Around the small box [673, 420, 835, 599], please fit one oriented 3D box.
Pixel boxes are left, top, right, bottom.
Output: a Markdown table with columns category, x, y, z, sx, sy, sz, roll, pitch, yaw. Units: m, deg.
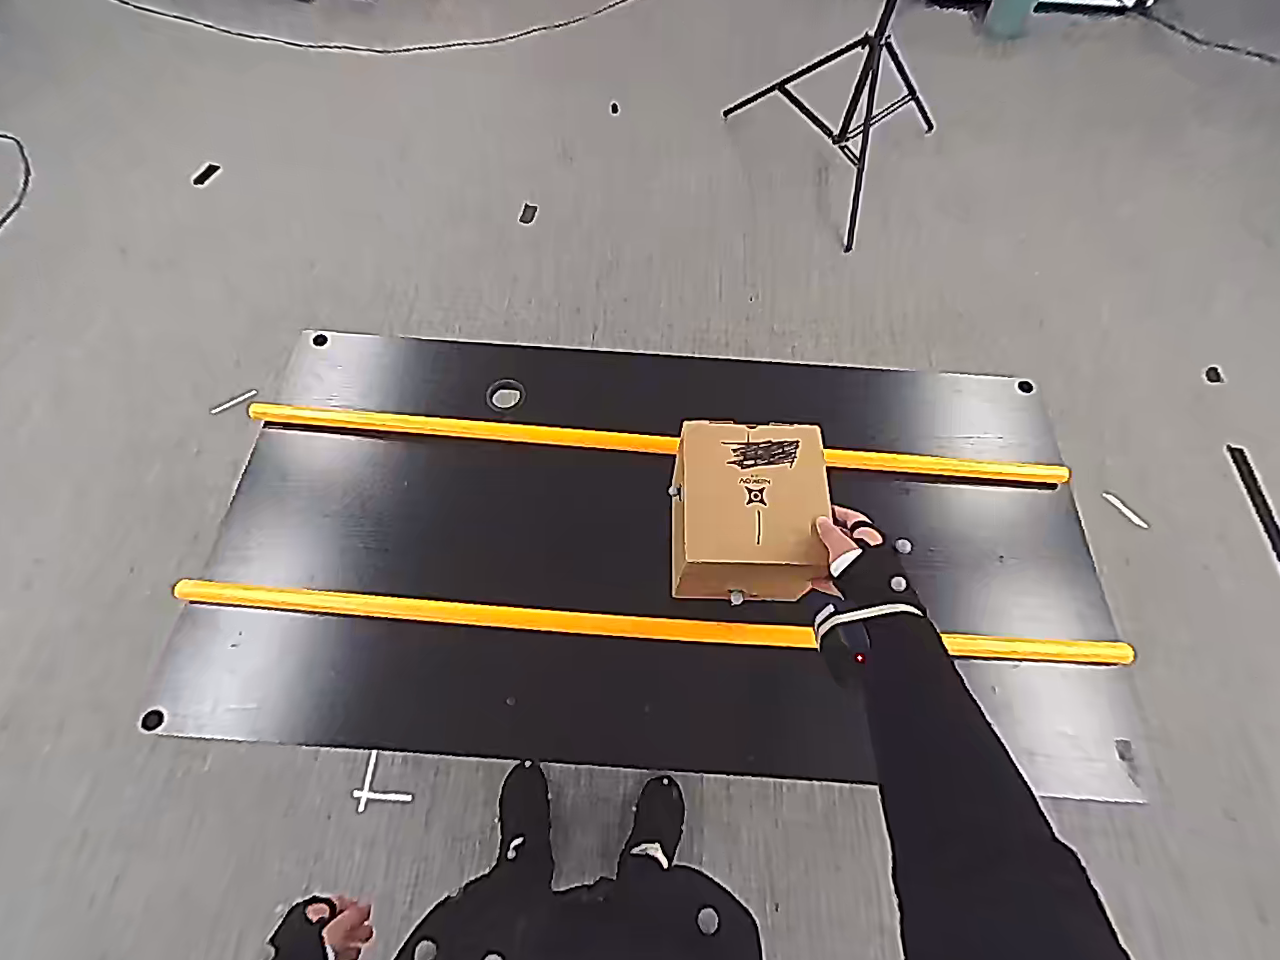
| category | x | y | z | sx | sy | sz | roll | pitch | yaw |
| --- | --- | --- | --- | --- | --- | --- | --- | --- | --- |
| small box | 0.130 | 0.043 | 0.690 | 0.168 | 0.176 | 0.179 | 2 | 65 | 0 |
